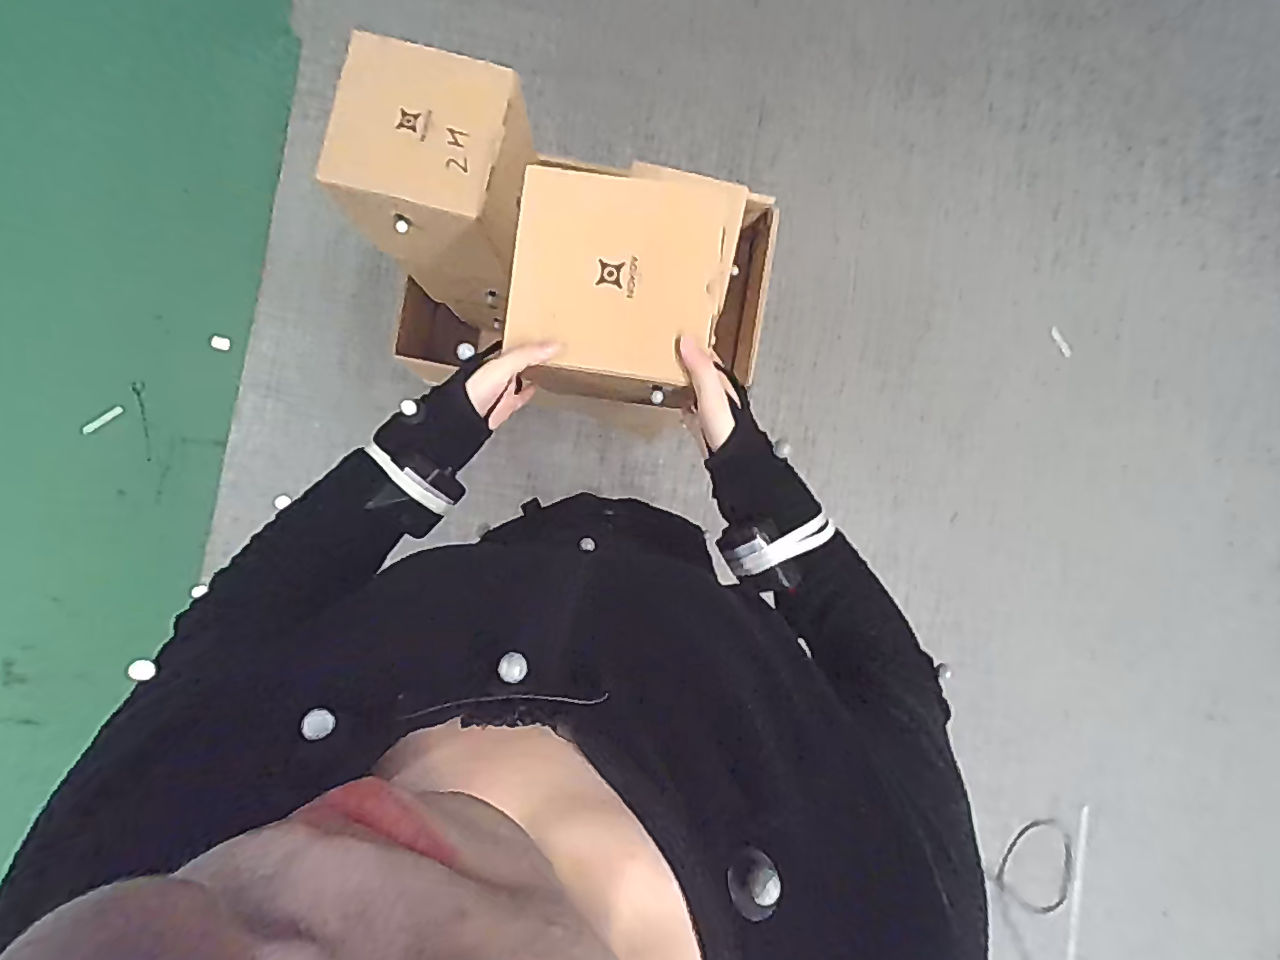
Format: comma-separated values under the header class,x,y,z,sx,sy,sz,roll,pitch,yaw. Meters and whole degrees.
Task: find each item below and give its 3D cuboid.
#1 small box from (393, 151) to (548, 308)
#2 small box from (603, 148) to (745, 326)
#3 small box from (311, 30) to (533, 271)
class,x,y,z,sx,sy,sz,roll,pitch,yaw
small box,-0.239,-0.373,0.803,0.168,0.176,0.179,9,88,-1
small box,0.047,-0.346,0.803,0.168,0.176,0.179,11,88,0
small box,-0.240,-0.368,0.639,0.179,0.176,0.168,12,89,-1
